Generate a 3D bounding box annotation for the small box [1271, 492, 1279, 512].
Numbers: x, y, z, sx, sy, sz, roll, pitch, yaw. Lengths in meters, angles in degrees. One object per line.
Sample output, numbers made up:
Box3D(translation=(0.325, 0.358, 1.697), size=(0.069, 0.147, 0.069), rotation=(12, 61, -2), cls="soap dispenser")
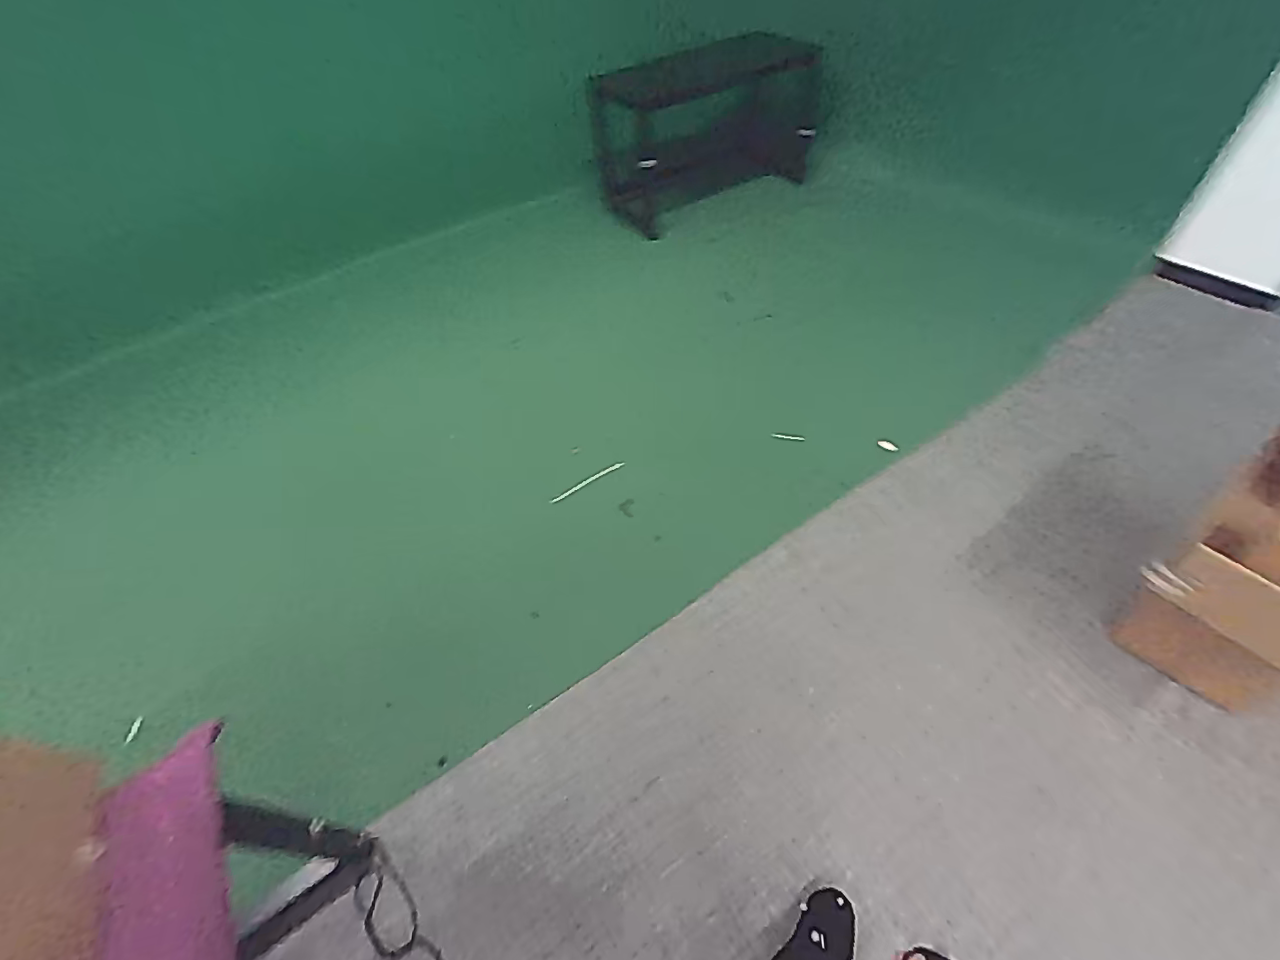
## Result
Box3D(translation=(1.636, 0.021, 1.240), size=(0.168, 0.176, 0.179), rotation=(-36, 56, -23), cls="small box")
